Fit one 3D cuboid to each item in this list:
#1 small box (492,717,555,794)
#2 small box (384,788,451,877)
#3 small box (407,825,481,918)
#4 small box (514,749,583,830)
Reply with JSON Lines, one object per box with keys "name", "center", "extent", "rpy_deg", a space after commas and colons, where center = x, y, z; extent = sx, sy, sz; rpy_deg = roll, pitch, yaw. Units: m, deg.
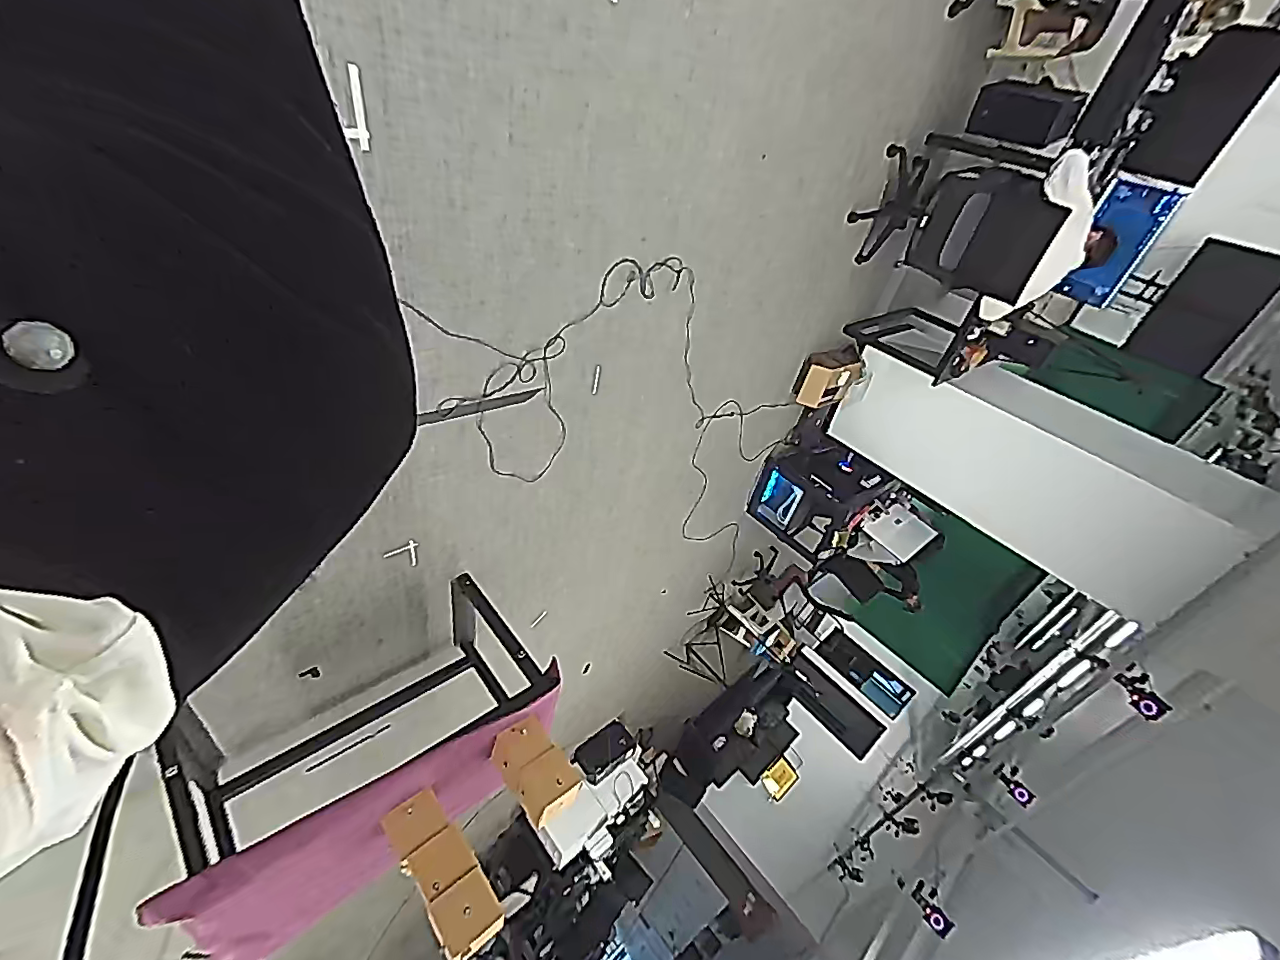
{"name": "small box", "center": [-0.462, 1.076, 2.124], "extent": [0.168, 0.176, 0.179], "rpy_deg": [-14, 133, -44]}
{"name": "small box", "center": [-0.776, 1.228, 1.892], "extent": [0.179, 0.176, 0.168], "rpy_deg": [-24, 142, -35]}
{"name": "small box", "center": [-0.655, 1.306, 1.814], "extent": [0.179, 0.176, 0.168], "rpy_deg": [-24, 142, -35]}
{"name": "small box", "center": [-0.348, 1.157, 2.036], "extent": [0.179, 0.176, 0.168], "rpy_deg": [-16, 135, -43]}
